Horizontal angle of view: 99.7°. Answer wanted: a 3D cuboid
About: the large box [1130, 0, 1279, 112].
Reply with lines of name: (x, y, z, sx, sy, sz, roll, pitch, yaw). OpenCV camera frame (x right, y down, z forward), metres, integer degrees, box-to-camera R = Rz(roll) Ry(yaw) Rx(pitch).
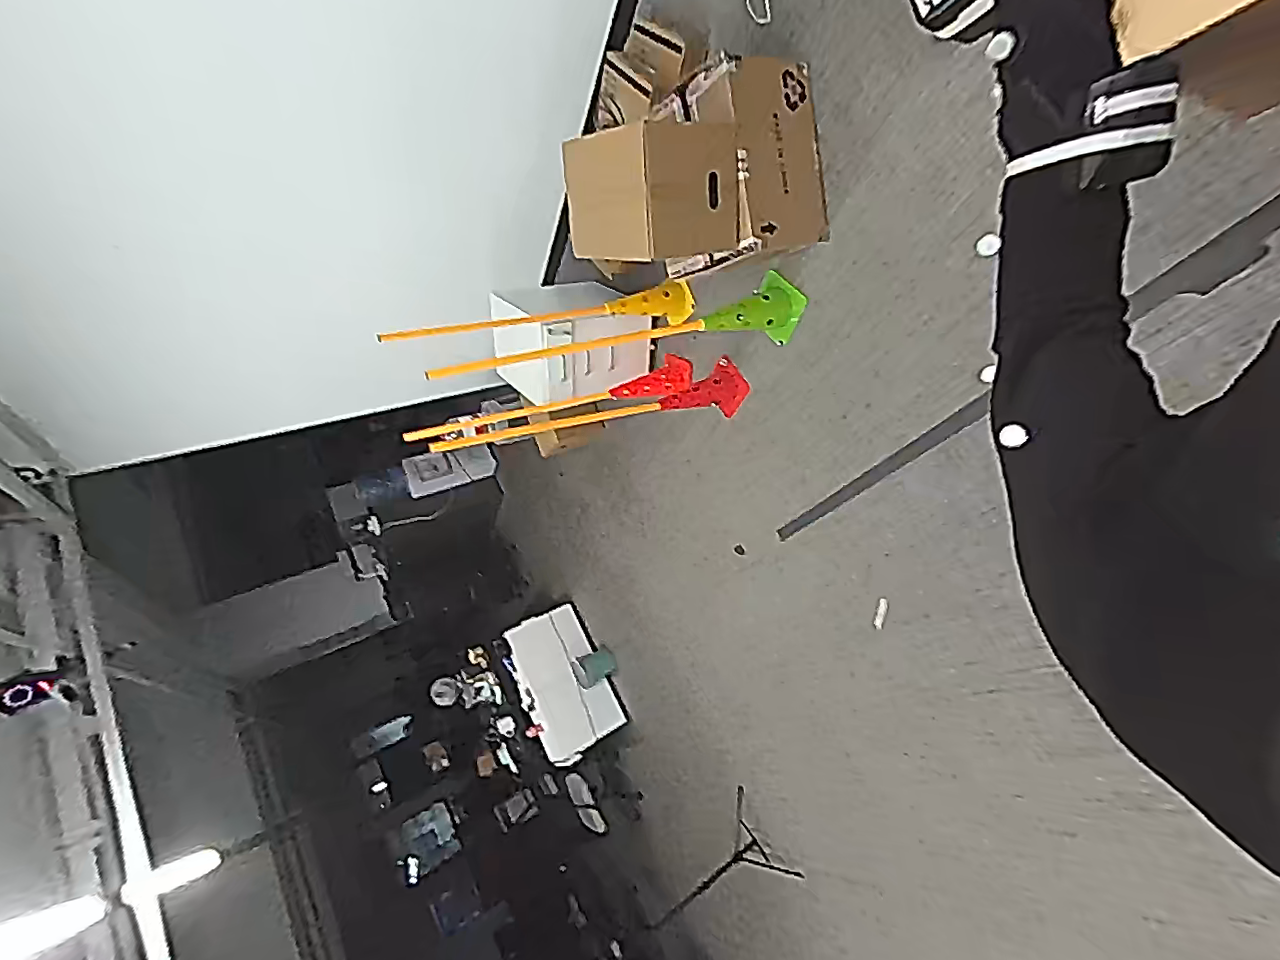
large box: (0.507, -0.470, 0.252, 0.408, 0.320, 0.320, -8, 97, 57)
